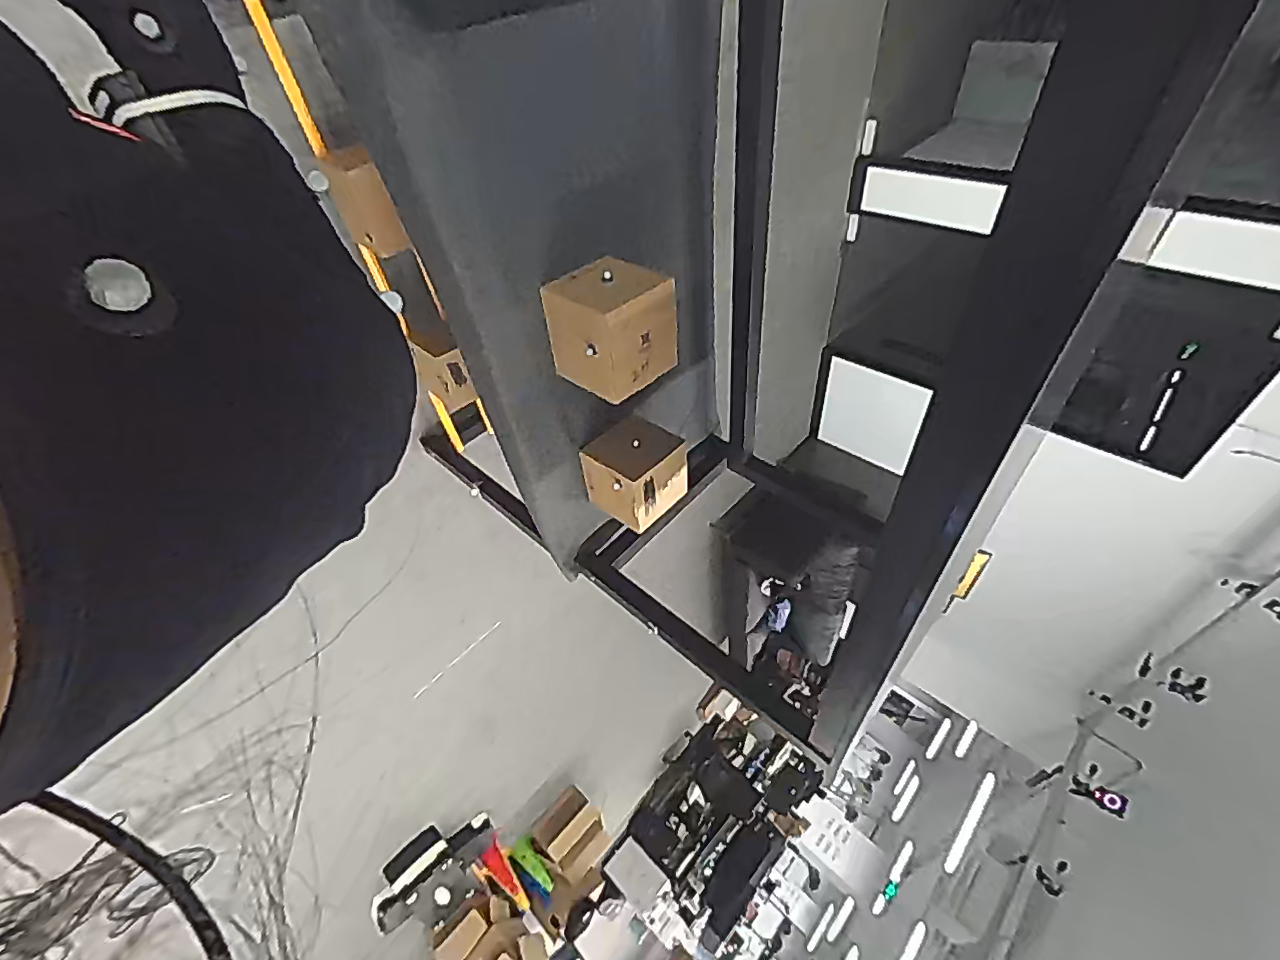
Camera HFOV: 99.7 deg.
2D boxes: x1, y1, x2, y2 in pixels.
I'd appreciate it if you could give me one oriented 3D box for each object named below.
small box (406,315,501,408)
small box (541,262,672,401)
[{"bbox_3d":[-0.516,-0.330,1.485,0.179,0.176,0.168,-38,143,-30],"label":"small box"},{"bbox_3d":[-0.059,-0.276,0.975,0.168,0.176,0.179,-38,143,-29],"label":"small box"}]
